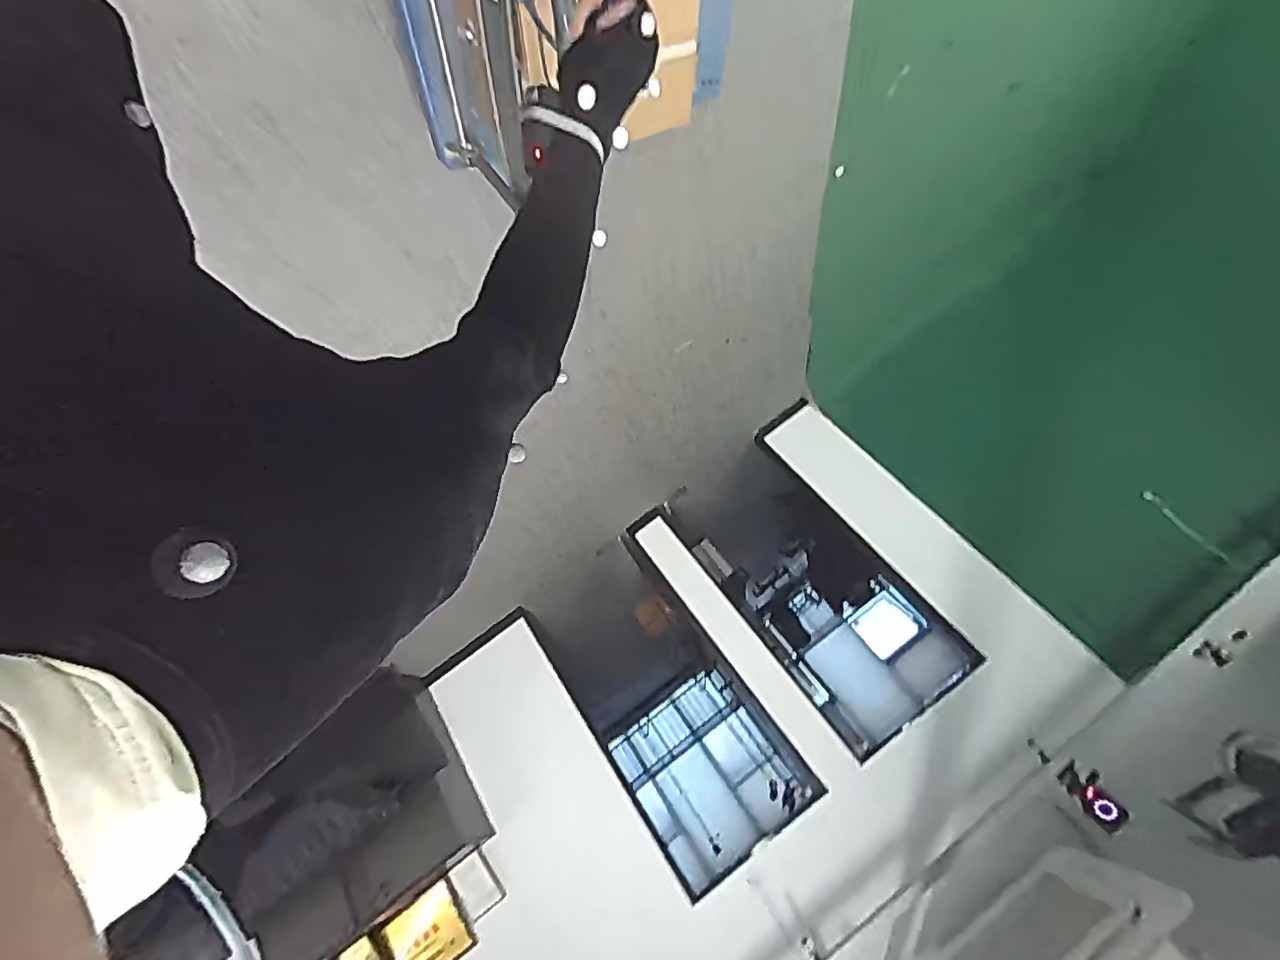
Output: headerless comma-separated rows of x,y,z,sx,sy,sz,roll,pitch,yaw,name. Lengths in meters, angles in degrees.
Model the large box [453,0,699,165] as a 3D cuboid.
-0.135,-0.936,1.132,0.408,0.320,0.320,-30,153,-19,large box
